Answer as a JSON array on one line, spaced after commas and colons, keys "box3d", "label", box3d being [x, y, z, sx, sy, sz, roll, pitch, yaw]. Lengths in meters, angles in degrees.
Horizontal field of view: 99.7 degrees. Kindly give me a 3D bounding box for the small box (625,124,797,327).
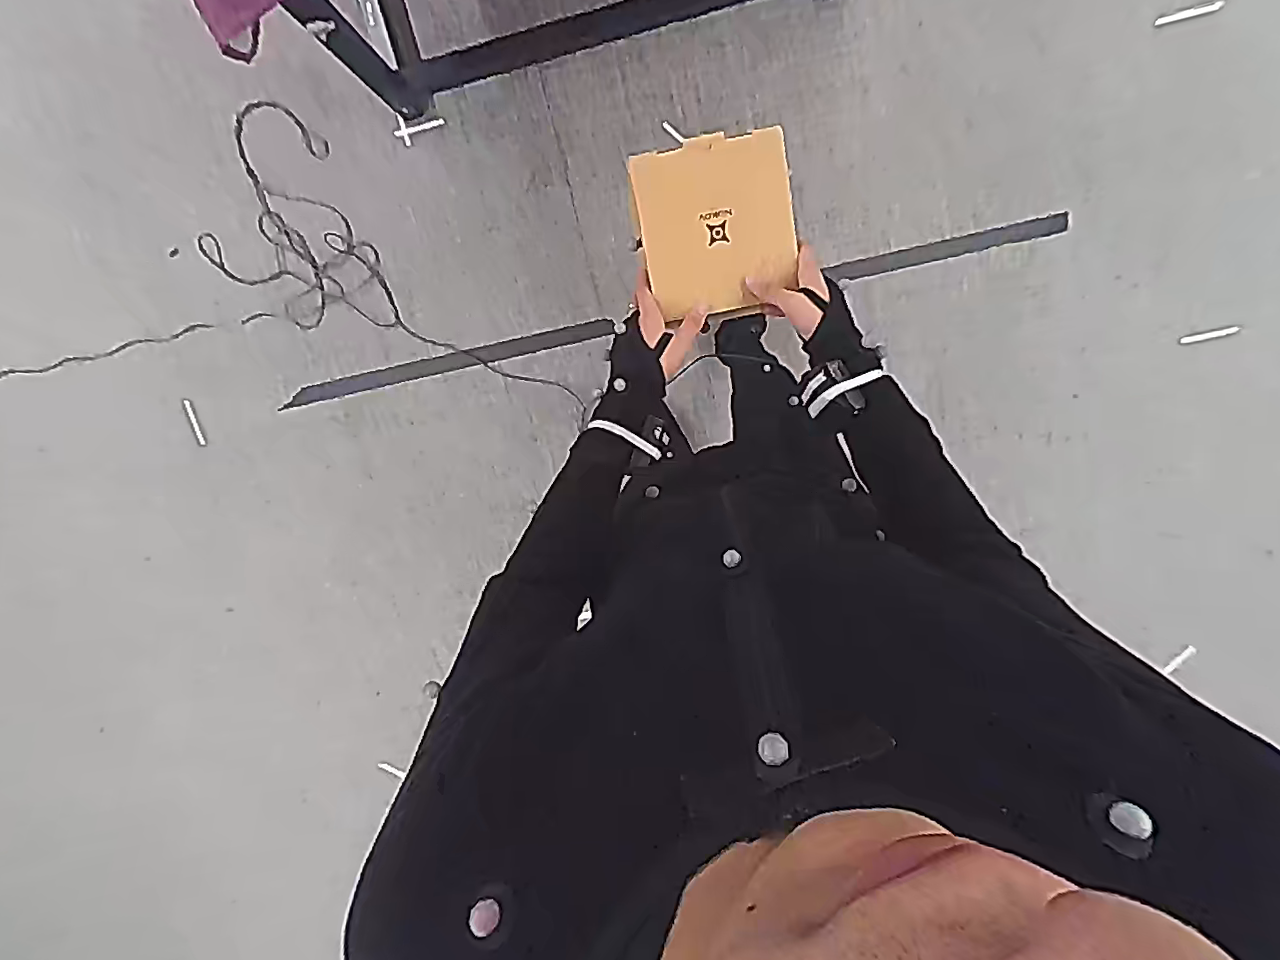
[{"box3d": [0.080, -0.291, 0.663, 0.168, 0.176, 0.179, -11, 100, 2], "label": "small box"}]
